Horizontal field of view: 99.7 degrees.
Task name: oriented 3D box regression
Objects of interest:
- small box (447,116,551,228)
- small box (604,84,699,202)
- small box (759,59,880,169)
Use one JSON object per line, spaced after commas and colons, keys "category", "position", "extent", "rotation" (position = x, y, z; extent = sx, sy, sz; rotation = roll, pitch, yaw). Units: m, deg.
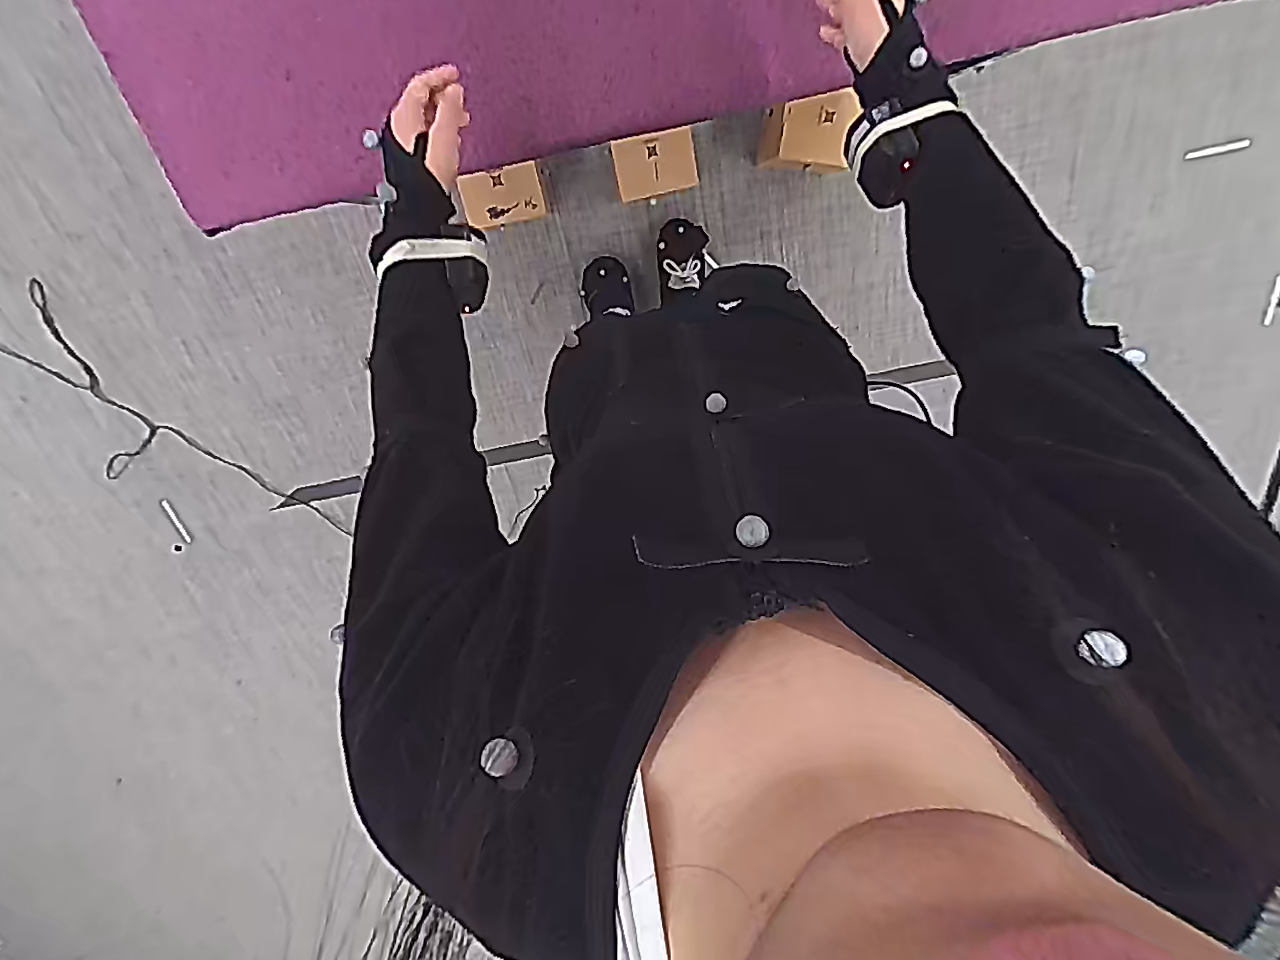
{"category": "small box", "position": [-0.292, -0.648, 1.157], "extent": [0.168, 0.176, 0.179], "rotation": [-10, 115, 0]}
{"category": "small box", "position": [0.020, -0.707, 1.153], "extent": [0.168, 0.176, 0.179], "rotation": [-12, 117, 2]}
{"category": "small box", "position": [0.372, -0.769, 1.154], "extent": [0.179, 0.176, 0.168], "rotation": [5, 116, -4]}
